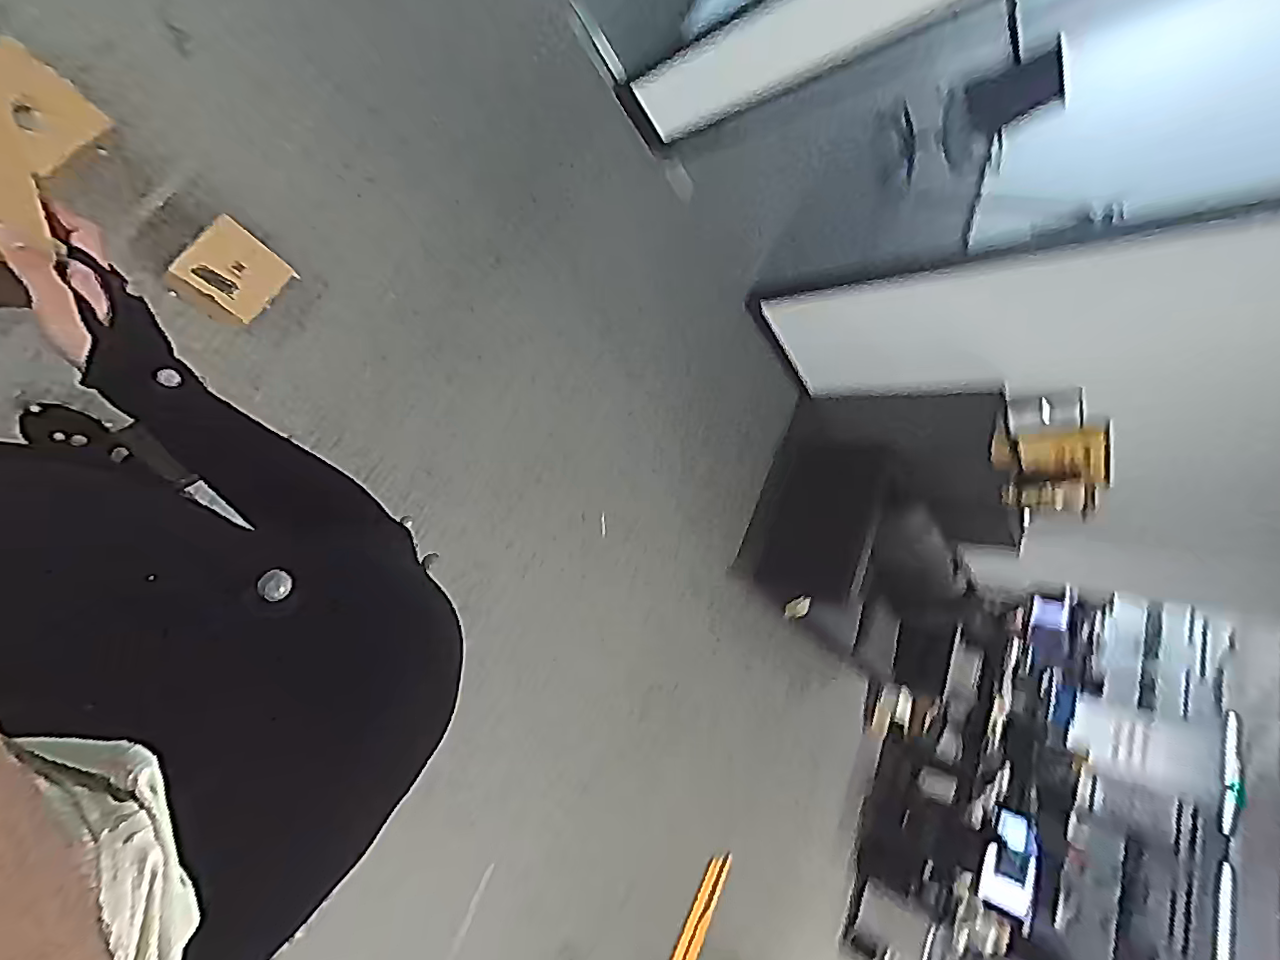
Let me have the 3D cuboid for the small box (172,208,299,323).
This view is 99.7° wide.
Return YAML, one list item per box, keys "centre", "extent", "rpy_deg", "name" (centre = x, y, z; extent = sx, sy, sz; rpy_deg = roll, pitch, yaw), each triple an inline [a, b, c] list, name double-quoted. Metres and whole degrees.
- centre: [-0.945, -0.489, 1.261]
  extent: [0.168, 0.176, 0.179]
  rpy_deg: [45, 63, -40]
  name: "small box"

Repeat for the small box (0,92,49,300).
- centre: [-0.598, -0.246, 0.409]
  extent: [0.168, 0.176, 0.179]
  rpy_deg: [-20, 106, -48]
  name: "small box"
